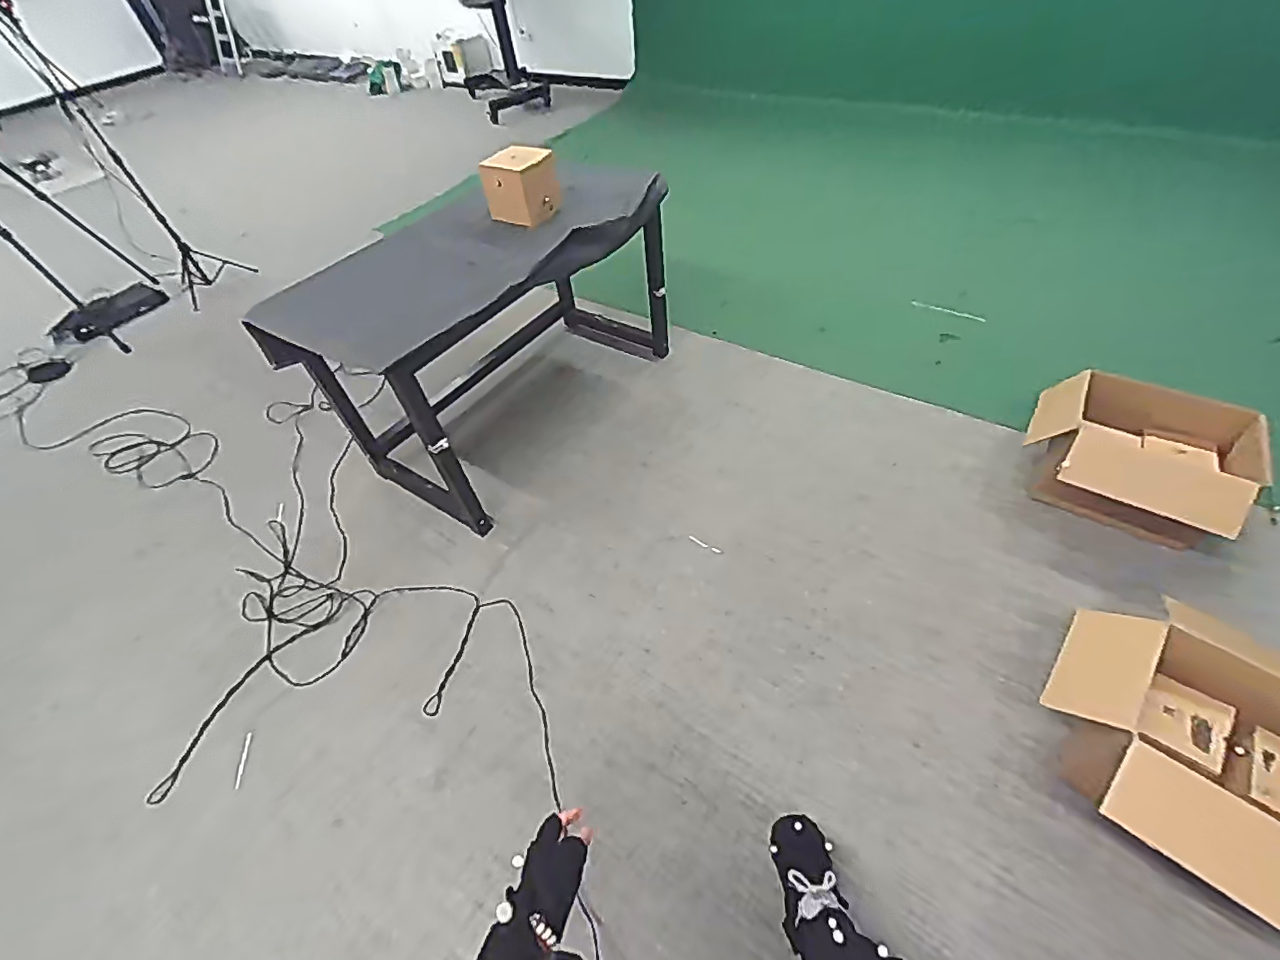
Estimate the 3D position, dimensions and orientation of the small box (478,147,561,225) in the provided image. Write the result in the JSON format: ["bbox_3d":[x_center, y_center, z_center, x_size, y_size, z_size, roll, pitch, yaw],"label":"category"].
[{"bbox_3d":[-0.376,-0.931,1.715,0.179,0.176,0.168,23,56,24],"label":"small box"}]
